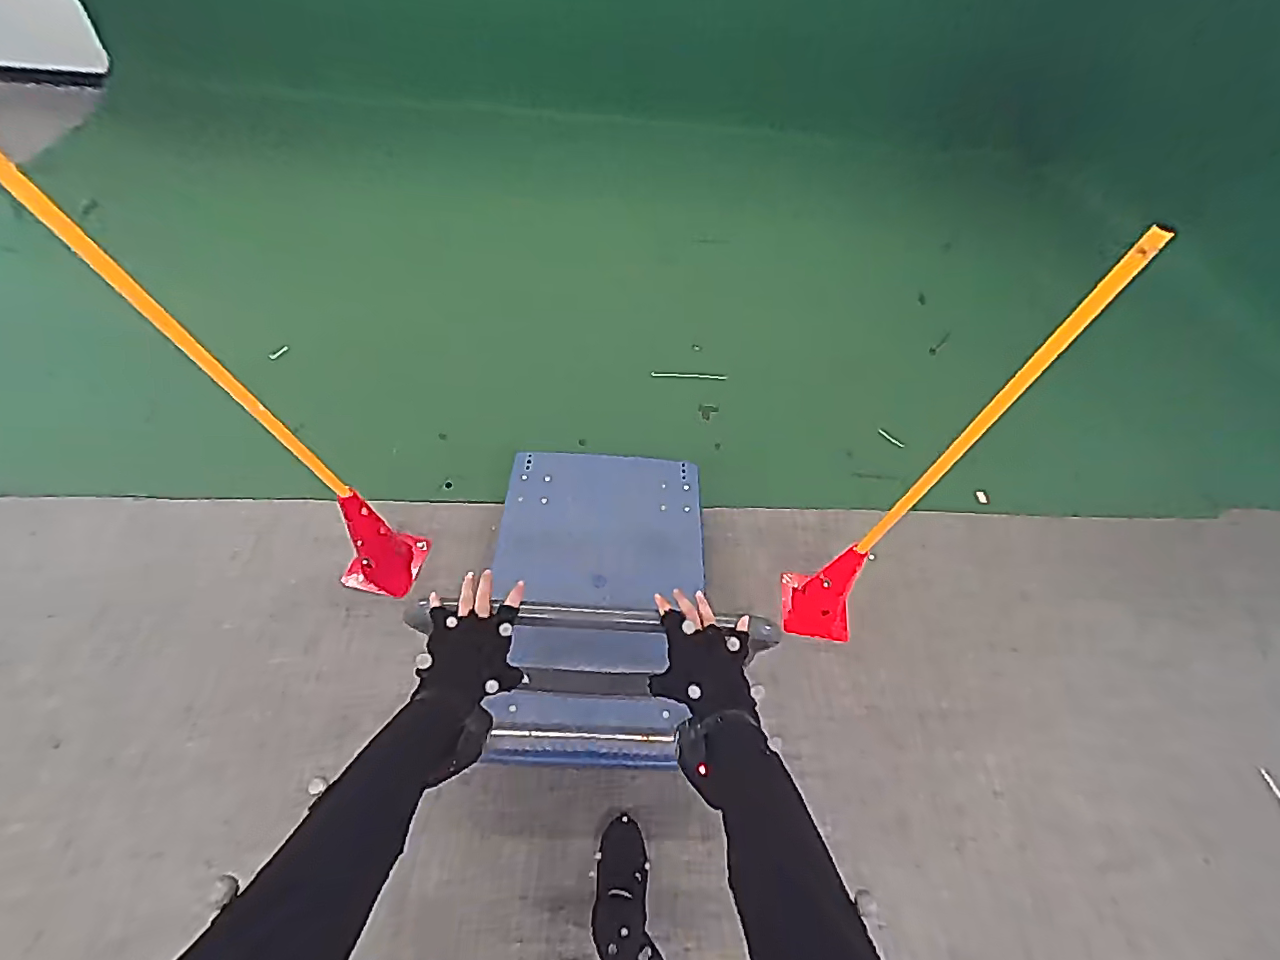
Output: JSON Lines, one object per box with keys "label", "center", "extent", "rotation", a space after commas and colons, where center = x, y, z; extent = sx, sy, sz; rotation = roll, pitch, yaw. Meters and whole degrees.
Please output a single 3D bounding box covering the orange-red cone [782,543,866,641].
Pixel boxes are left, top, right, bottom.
{"label": "orange-red cone", "center": [0.542, 0.281, 1.502], "extent": [0.198, 0.360, 0.199], "rotation": [10, 53, 3]}
